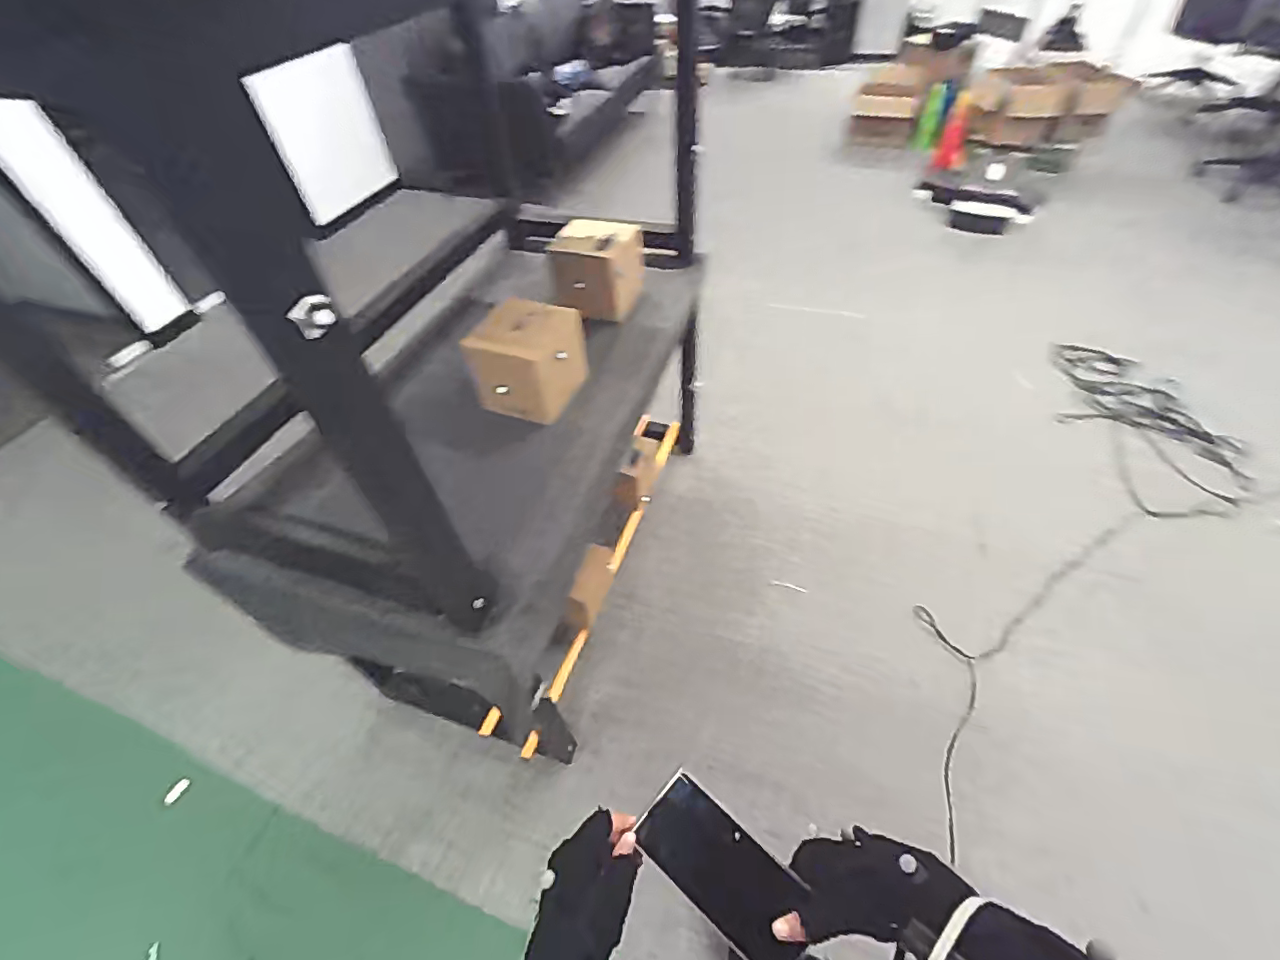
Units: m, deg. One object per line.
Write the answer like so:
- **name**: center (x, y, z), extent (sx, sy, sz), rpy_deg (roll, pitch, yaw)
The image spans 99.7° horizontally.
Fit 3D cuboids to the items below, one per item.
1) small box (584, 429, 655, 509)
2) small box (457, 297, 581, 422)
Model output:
- **small box**: center (-0.058, -0.031, 1.730), extent (0.179, 0.176, 0.168), rpy_deg (16, 52, 17)
- **small box**: center (-0.233, -0.243, 1.100), extent (0.168, 0.176, 0.179), rpy_deg (15, 52, 17)
